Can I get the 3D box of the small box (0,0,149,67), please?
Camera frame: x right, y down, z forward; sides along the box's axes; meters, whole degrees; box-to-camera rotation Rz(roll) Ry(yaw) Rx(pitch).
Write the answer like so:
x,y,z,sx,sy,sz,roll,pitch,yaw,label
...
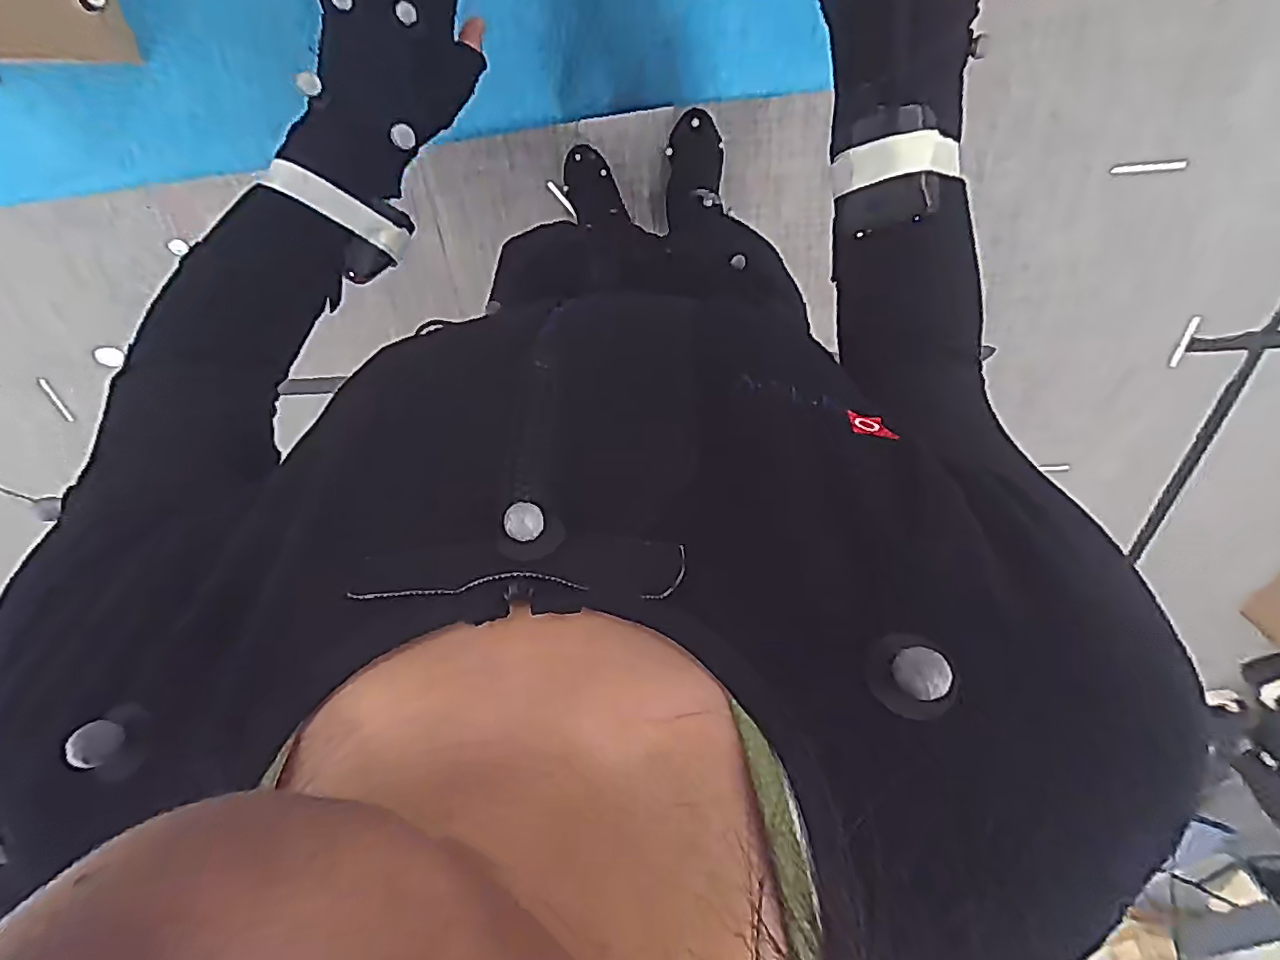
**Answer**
x,y,z,sx,sy,sz,roll,pitch,yaw,label
-0.559,-0.431,0.414,0.168,0.176,0.179,0,126,1,small box
